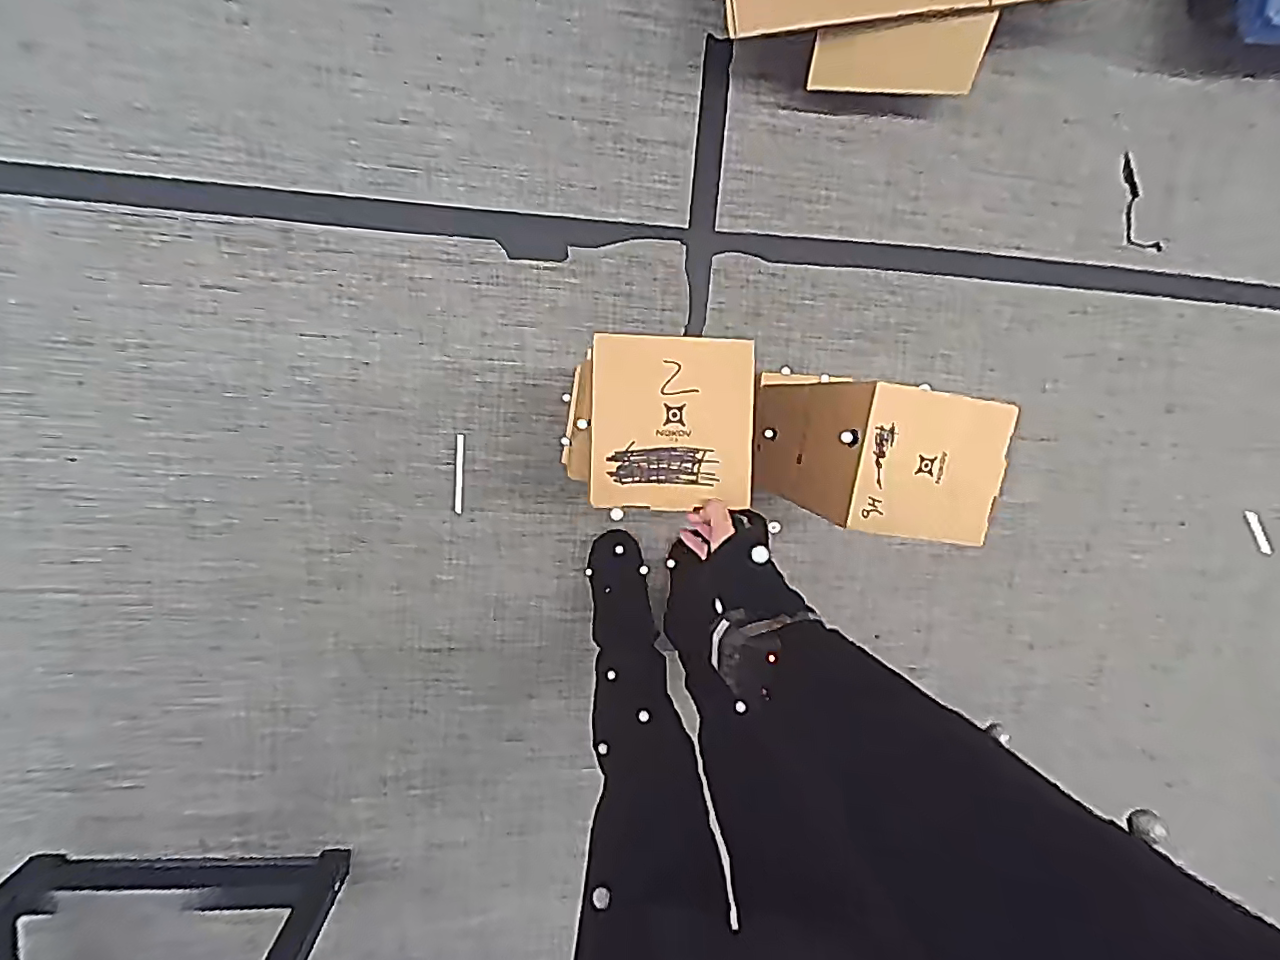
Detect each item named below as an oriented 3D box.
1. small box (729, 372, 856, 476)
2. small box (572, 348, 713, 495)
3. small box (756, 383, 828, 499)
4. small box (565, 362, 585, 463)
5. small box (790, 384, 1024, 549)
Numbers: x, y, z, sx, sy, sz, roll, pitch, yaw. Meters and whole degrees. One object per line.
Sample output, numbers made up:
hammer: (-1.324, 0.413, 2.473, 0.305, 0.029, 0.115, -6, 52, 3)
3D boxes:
small box: (0.268, -0.101, 0.988, 0.168, 0.176, 0.179, 2, 99, -8)
small box: (-0.007, -0.086, 0.789, 0.168, 0.176, 0.179, 7, 97, -10)
small box: (0.293, -0.056, 0.831, 0.179, 0.176, 0.168, 5, 99, -9)
small box: (-0.033, -0.105, 0.949, 0.179, 0.176, 0.168, 9, 98, -9)
small box: (0.315, -0.025, 0.671, 0.179, 0.176, 0.168, 8, 99, -10)
